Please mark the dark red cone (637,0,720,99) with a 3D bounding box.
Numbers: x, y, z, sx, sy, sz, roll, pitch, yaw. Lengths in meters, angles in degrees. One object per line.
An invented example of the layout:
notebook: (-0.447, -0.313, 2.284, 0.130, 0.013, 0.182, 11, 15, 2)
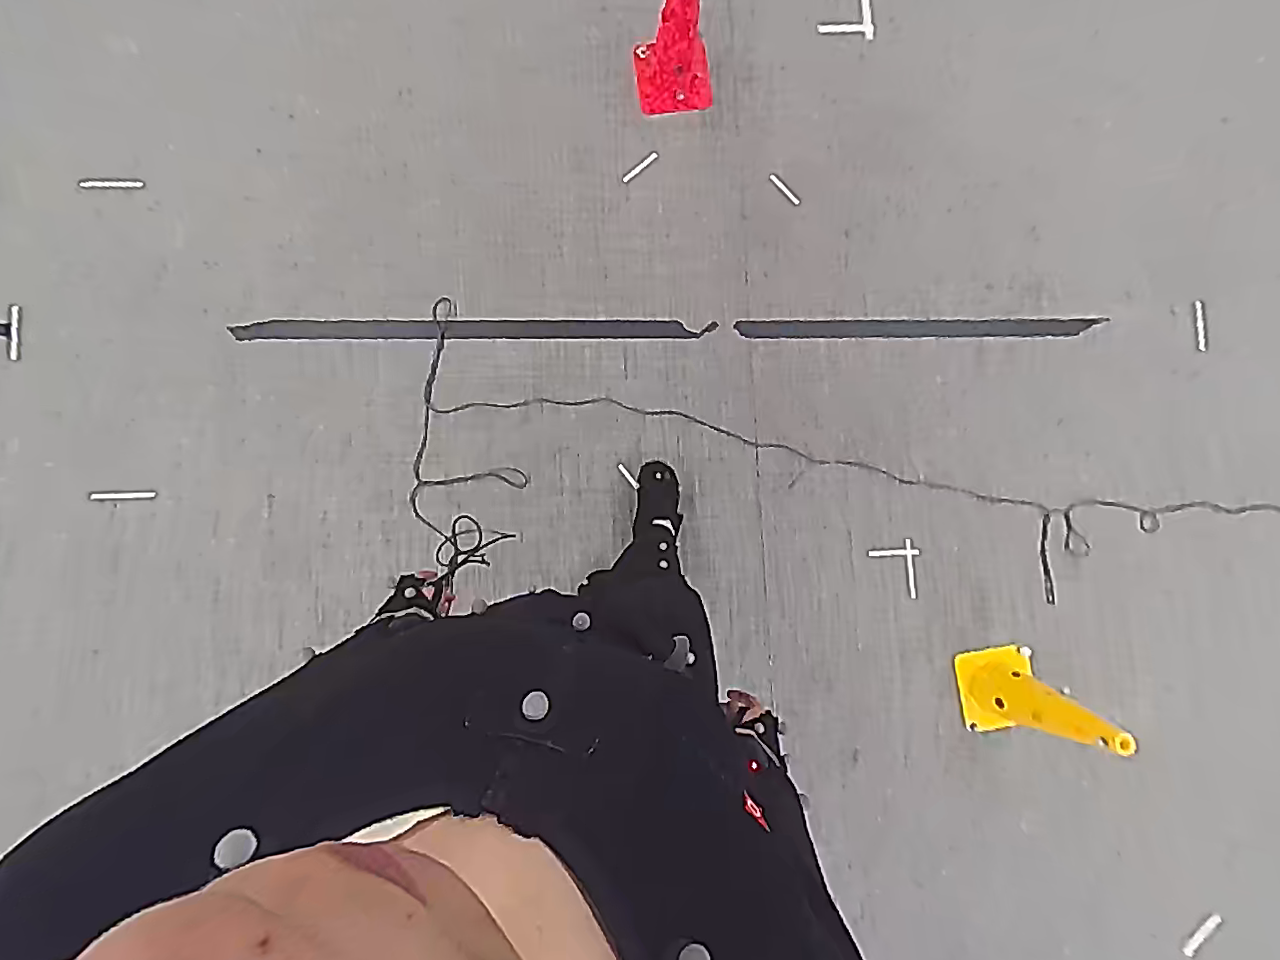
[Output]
dark red cone: (0.108, -1.106, 1.252, 0.202, 0.394, 0.201, -9, 88, -3)
